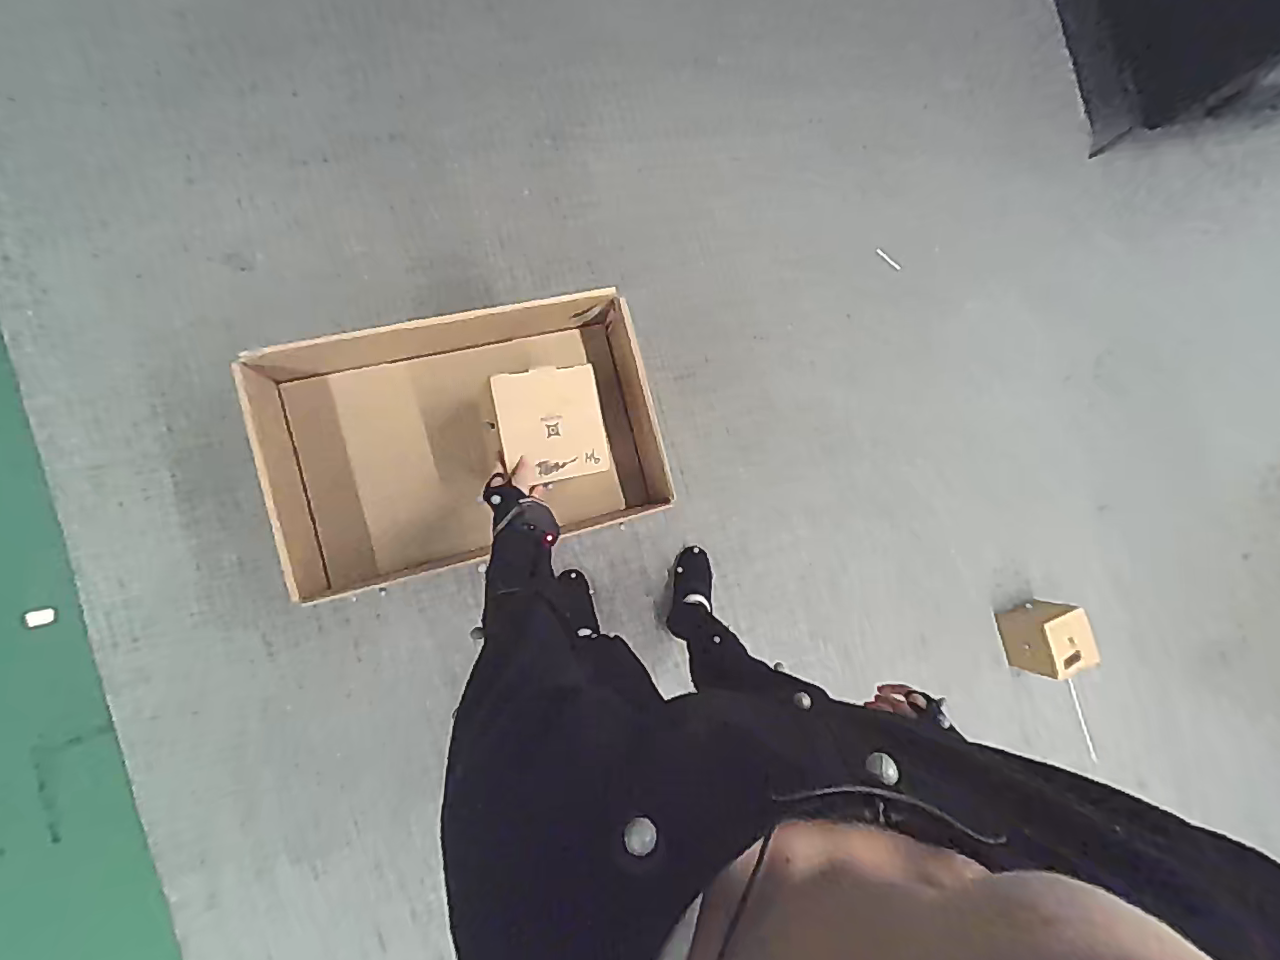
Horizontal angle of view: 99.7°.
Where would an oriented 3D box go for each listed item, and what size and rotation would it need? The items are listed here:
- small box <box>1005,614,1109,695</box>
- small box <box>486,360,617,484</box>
[{"bbox_3d":[1.268,0.526,1.654,0.168,0.176,0.179,-15,88,-14],"label":"small box"},{"bbox_3d":[-0.154,-0.091,0.899,0.168,0.176,0.179,-10,93,-22],"label":"small box"}]
